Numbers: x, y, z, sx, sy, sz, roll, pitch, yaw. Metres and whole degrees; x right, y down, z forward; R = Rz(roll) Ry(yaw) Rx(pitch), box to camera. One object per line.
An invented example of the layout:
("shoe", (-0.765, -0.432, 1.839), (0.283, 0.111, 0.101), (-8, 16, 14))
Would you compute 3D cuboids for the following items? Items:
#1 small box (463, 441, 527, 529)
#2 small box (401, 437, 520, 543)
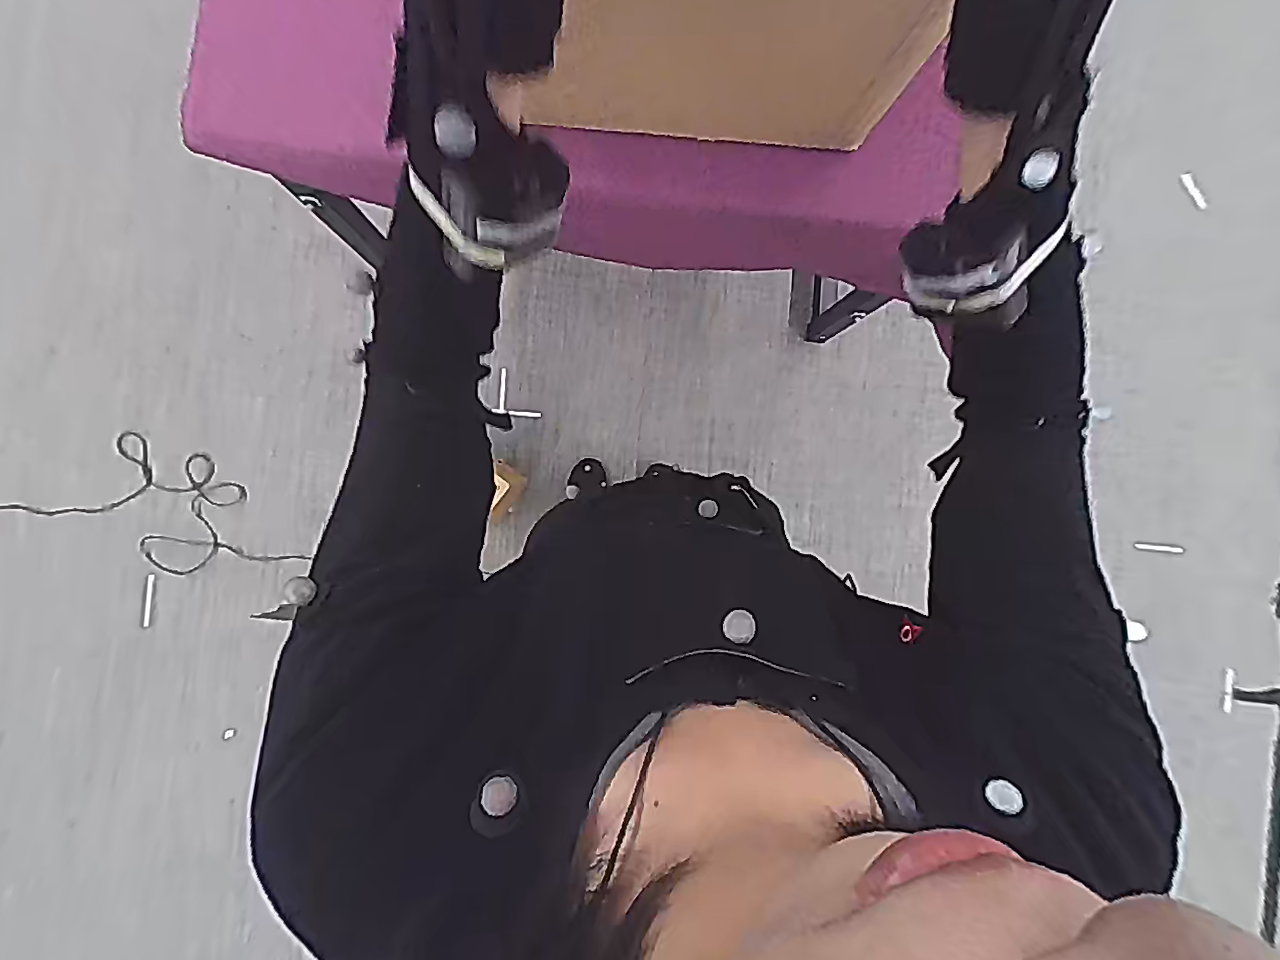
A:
("small box", (-0.415, 0.020, 1.404), (0.179, 0.176, 0.168), (36, 88, -4))
("small box", (-0.400, 0.024, 1.241), (0.179, 0.176, 0.168), (38, 88, -3))
